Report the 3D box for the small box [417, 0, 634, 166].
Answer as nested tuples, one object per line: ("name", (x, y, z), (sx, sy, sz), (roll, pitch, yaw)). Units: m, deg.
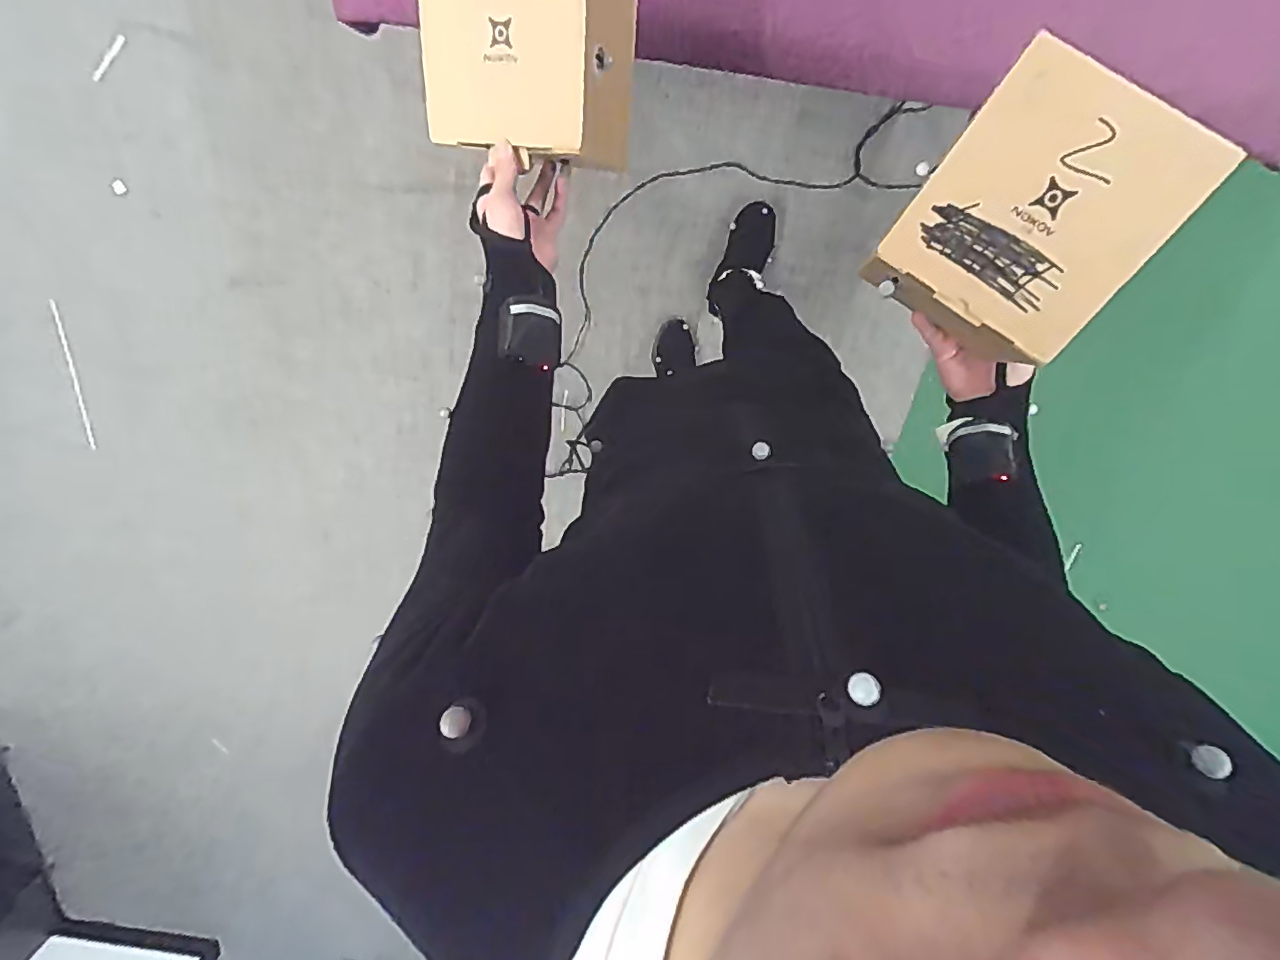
("small box", (-0.109, -0.439, 0.565), (0.168, 0.176, 0.179), (11, 115, 11))
